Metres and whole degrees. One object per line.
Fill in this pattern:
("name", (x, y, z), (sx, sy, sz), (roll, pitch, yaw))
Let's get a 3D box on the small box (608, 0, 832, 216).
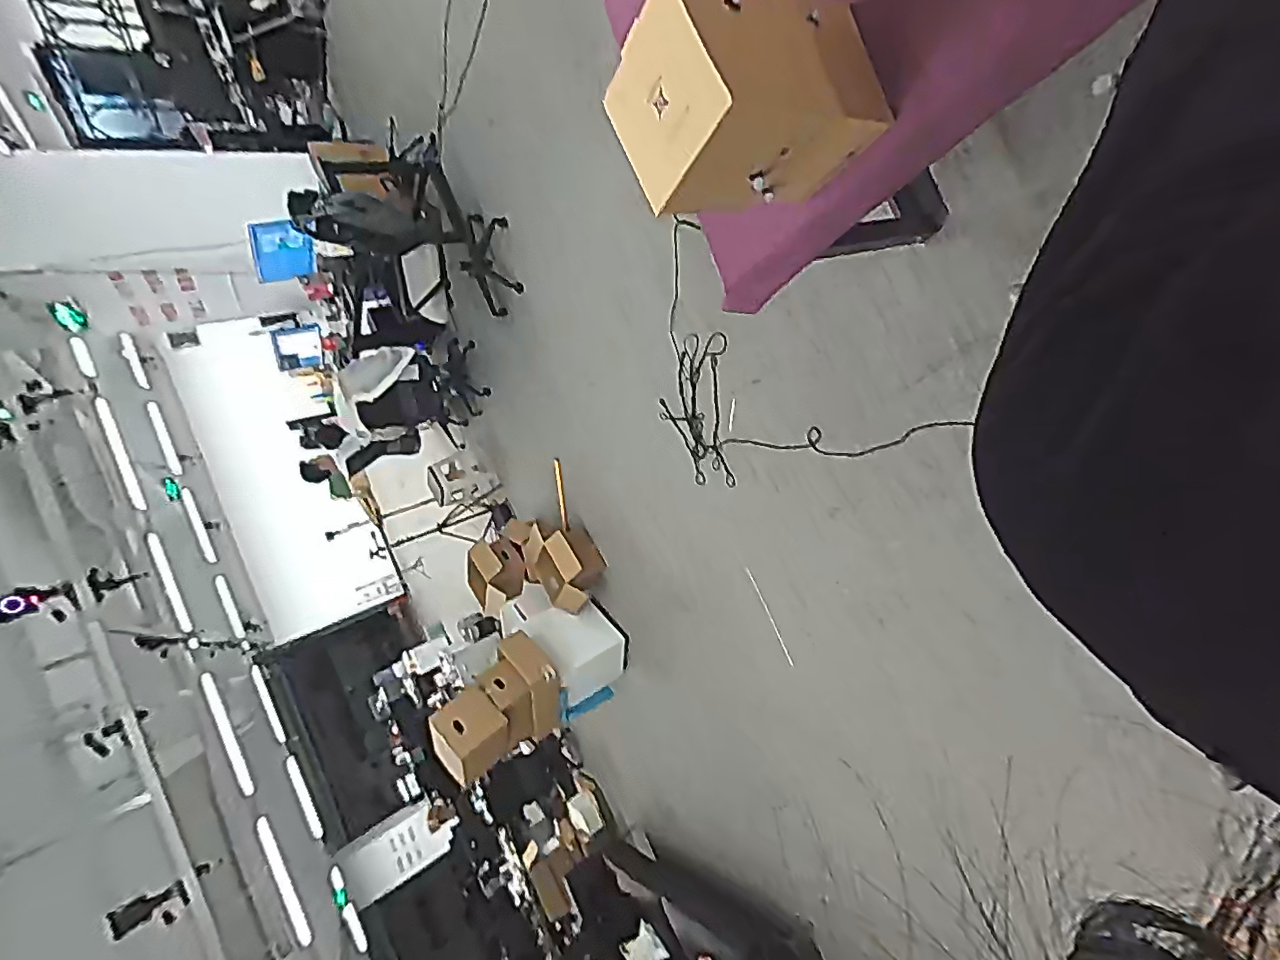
("small box", (0.093, -0.449, 0.657), (0.168, 0.176, 0.179), (-34, 78, 57))
